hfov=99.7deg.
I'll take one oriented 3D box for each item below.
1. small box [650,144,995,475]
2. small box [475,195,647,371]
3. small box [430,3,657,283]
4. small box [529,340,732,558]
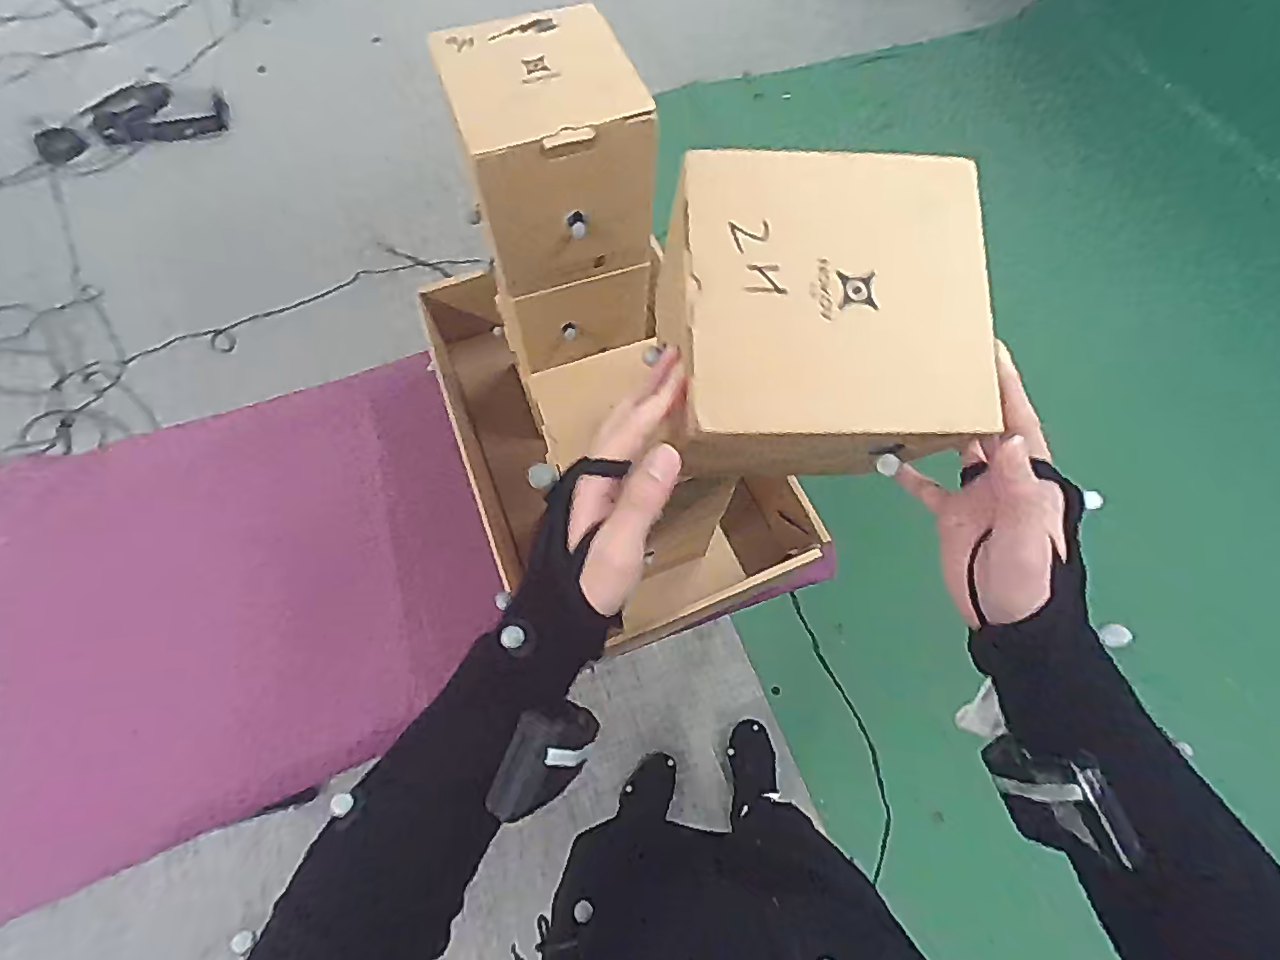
[{"bbox_3d":[0.103,-0.098,0.381,0.179,0.176,0.168,-1,82,-4],"label":"small box"},{"bbox_3d":[-0.095,-0.262,0.703,0.168,0.176,0.179,-19,69,-9],"label":"small box"},{"bbox_3d":[-0.090,-0.327,0.553,0.168,0.176,0.179,-18,70,-9],"label":"small box"},{"bbox_3d":[-0.007,-0.029,0.603,0.179,0.176,0.168,-18,68,-8],"label":"small box"}]
